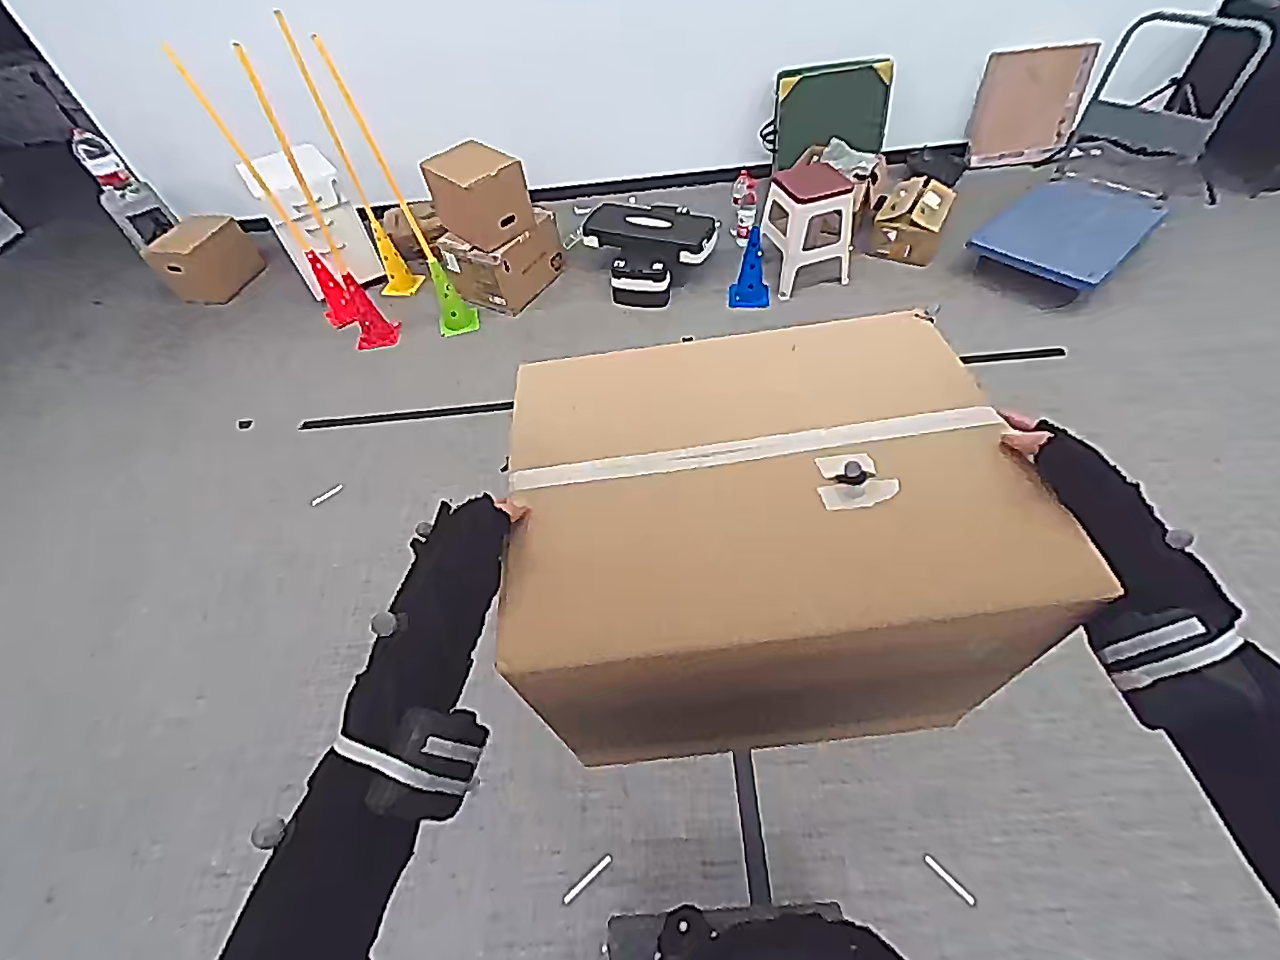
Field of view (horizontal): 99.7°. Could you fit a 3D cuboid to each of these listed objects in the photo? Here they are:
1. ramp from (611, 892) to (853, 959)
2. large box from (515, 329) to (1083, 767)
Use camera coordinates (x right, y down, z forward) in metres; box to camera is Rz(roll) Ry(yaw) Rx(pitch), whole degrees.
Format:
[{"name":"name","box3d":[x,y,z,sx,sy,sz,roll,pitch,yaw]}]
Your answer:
[{"name":"ramp","box3d":[0.216,1.329,0.918,0.509,0.206,0.991,-6,52,0]},{"name":"large box","box3d":[0.107,0.082,0.576,0.408,0.320,0.320,-8,51,1]}]
